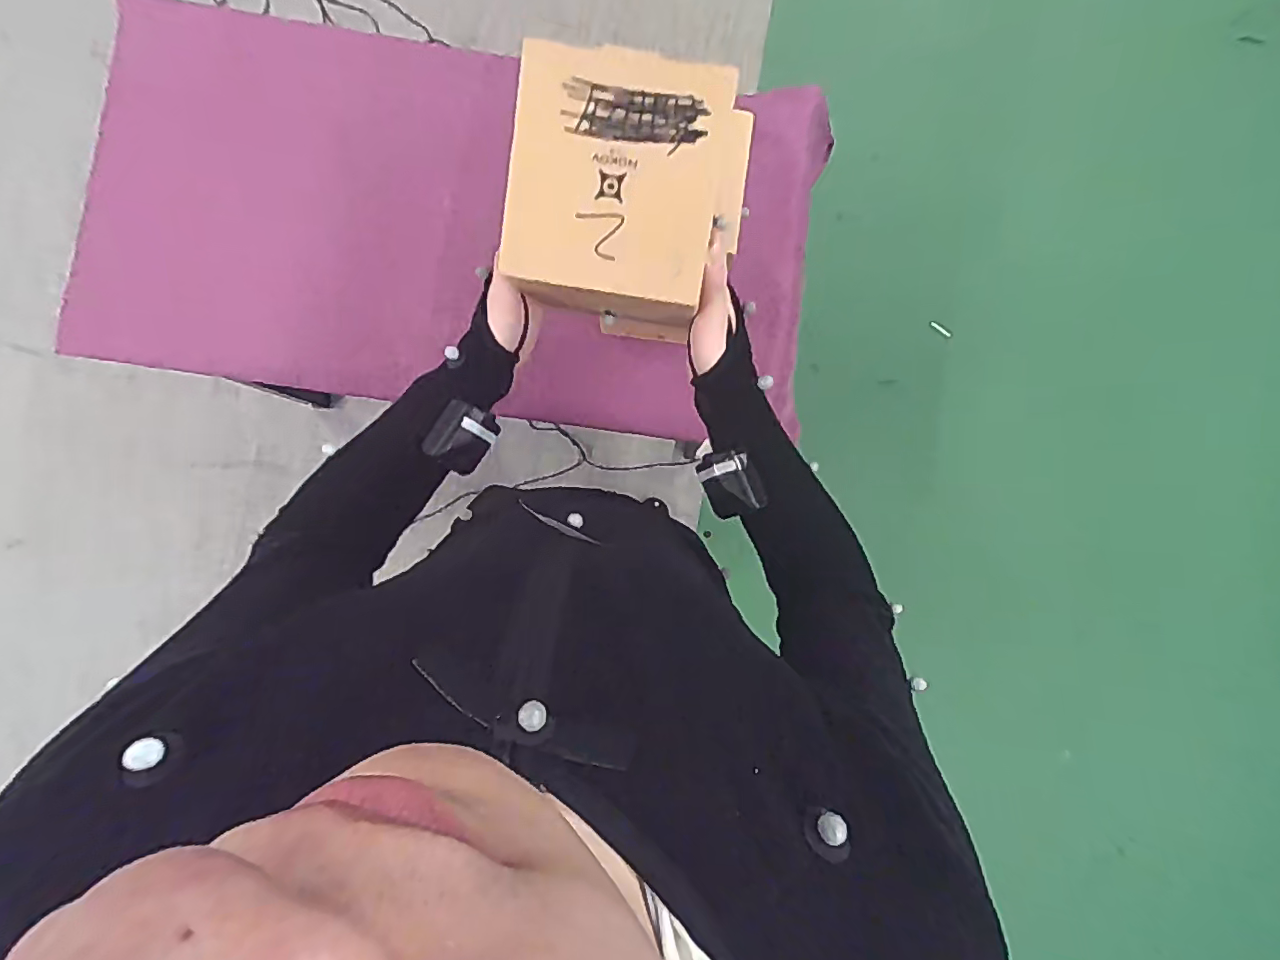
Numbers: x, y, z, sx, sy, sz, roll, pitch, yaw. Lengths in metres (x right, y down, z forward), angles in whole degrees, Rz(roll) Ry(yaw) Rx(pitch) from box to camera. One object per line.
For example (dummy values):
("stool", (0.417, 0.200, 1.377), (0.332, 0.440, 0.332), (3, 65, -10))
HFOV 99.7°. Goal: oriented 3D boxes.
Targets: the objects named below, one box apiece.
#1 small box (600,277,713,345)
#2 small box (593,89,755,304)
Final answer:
("small box", (0.029, -0.334, 0.859), (0.168, 0.176, 0.179), (7, 85, -2))
("small box", (0.037, -0.346, 0.694), (0.168, 0.176, 0.179), (8, 86, -3))
